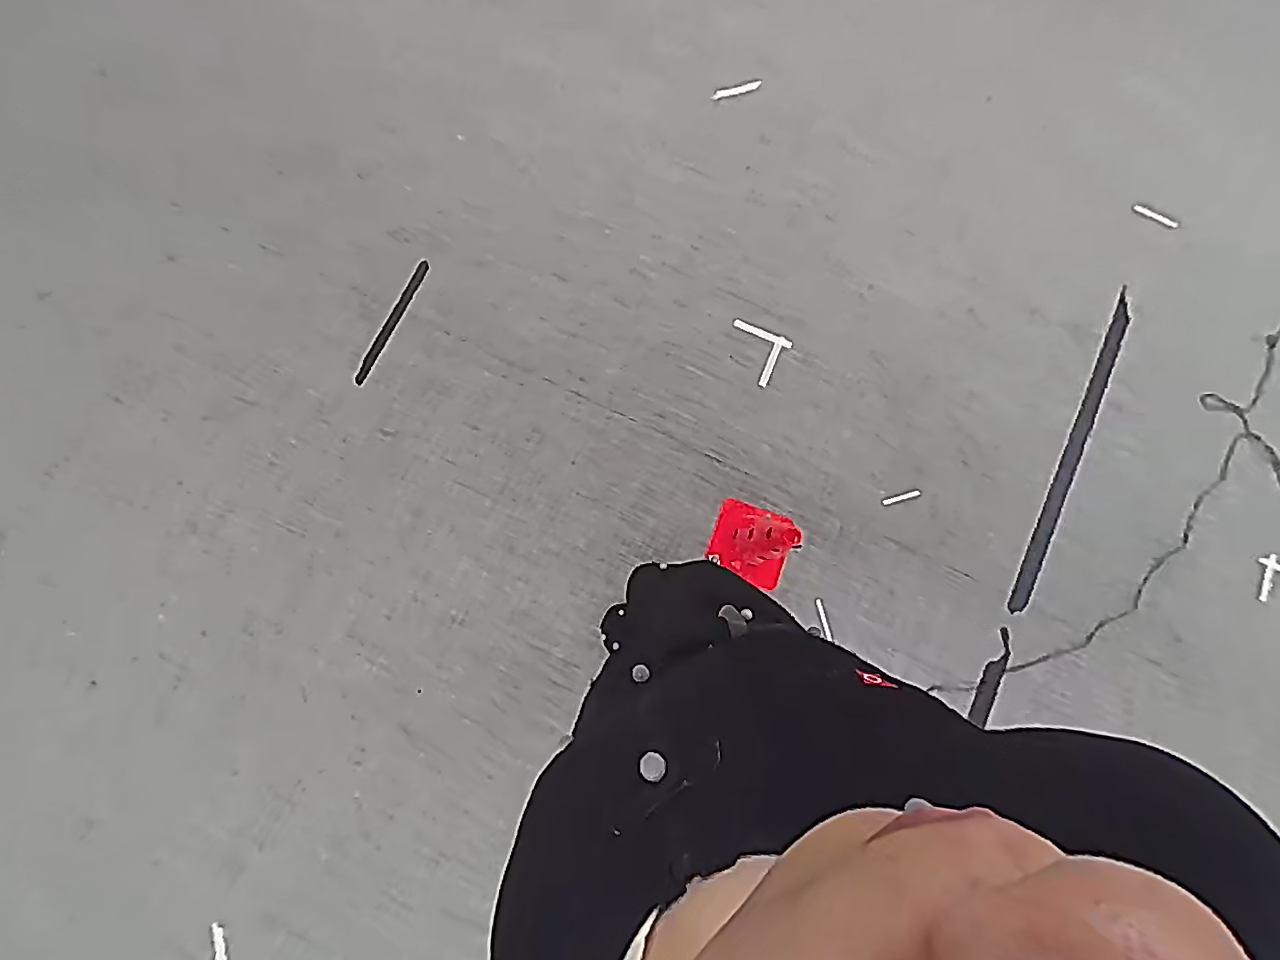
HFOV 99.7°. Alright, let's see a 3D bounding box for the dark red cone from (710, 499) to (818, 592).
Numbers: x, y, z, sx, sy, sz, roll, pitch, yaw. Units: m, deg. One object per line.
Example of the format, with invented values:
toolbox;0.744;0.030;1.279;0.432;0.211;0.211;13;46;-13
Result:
dark red cone;0.300;0.134;1.199;0.201;0.394;0.202;18;80;-1
